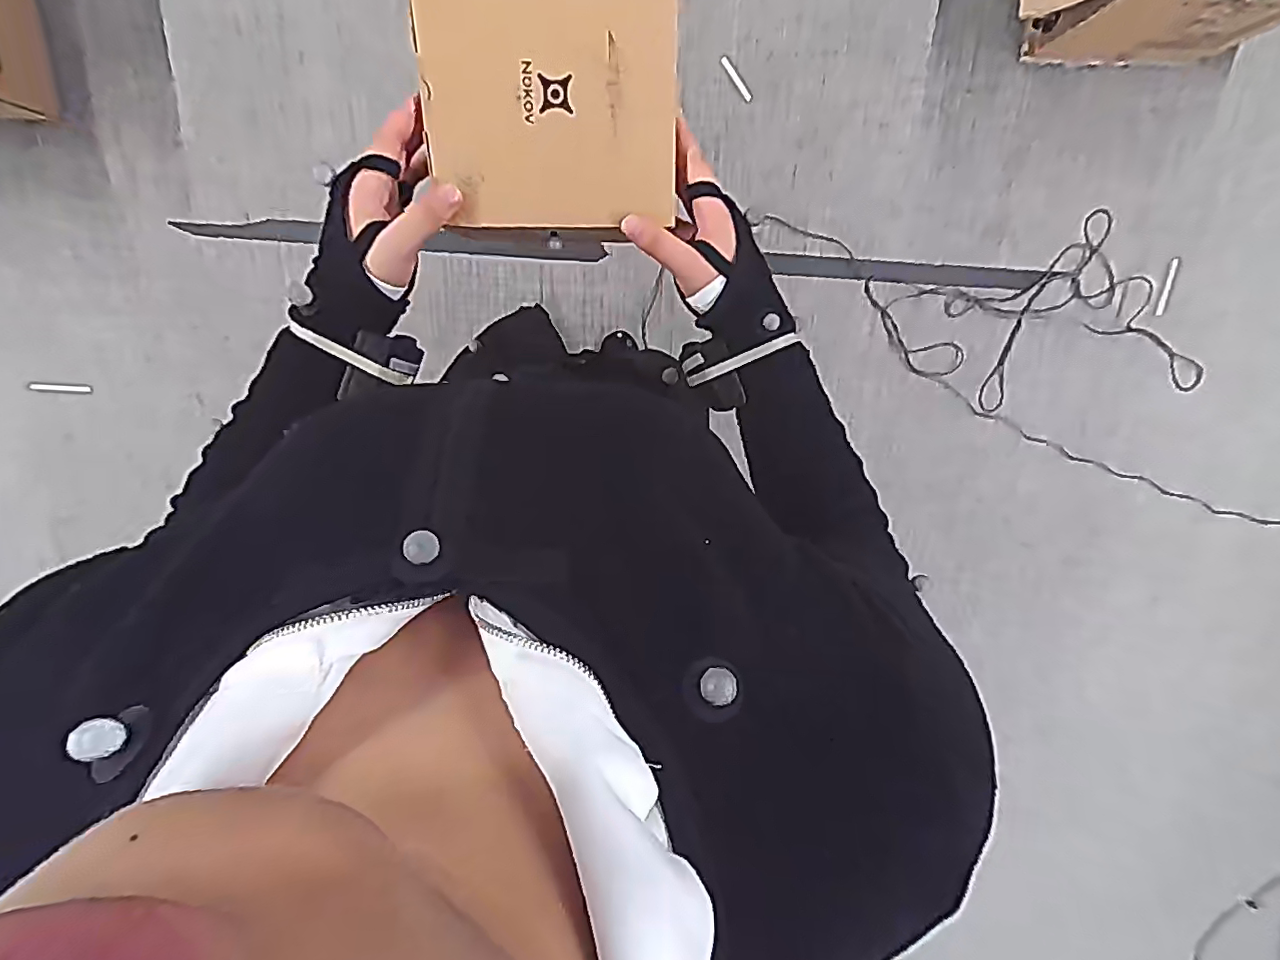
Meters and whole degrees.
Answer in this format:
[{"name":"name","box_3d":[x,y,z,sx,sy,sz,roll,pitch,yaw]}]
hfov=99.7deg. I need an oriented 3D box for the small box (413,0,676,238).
[{"name":"small box","box_3d":[-0.068,-0.296,0.449,0.179,0.176,0.168,-3,111,-6]}]
